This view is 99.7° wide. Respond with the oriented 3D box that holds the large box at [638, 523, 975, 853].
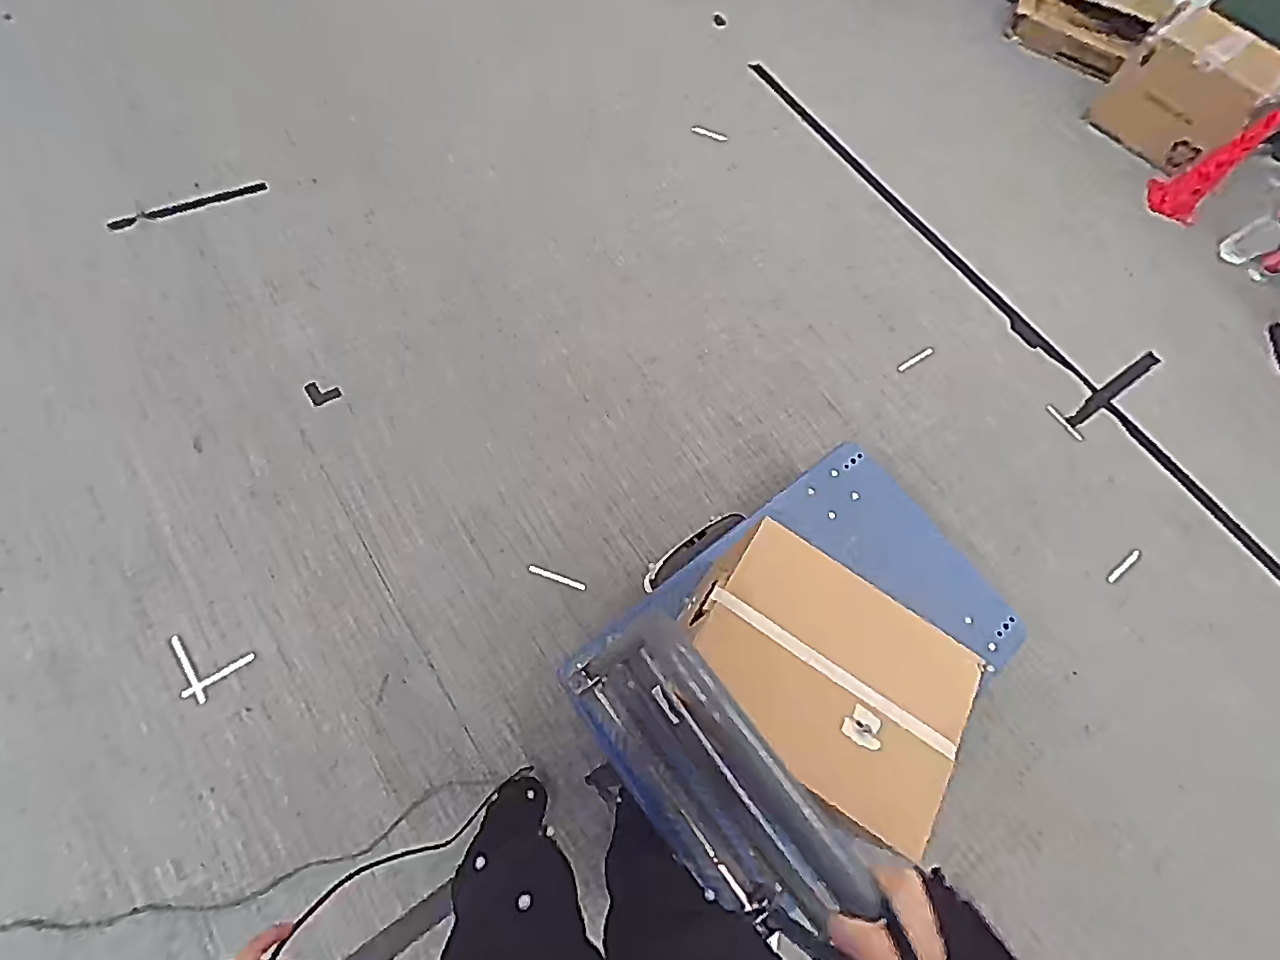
[{"bbox_3d":[0.258,0.340,0.937,0.408,0.320,0.320,34,67,4],"label":"large box"}]
